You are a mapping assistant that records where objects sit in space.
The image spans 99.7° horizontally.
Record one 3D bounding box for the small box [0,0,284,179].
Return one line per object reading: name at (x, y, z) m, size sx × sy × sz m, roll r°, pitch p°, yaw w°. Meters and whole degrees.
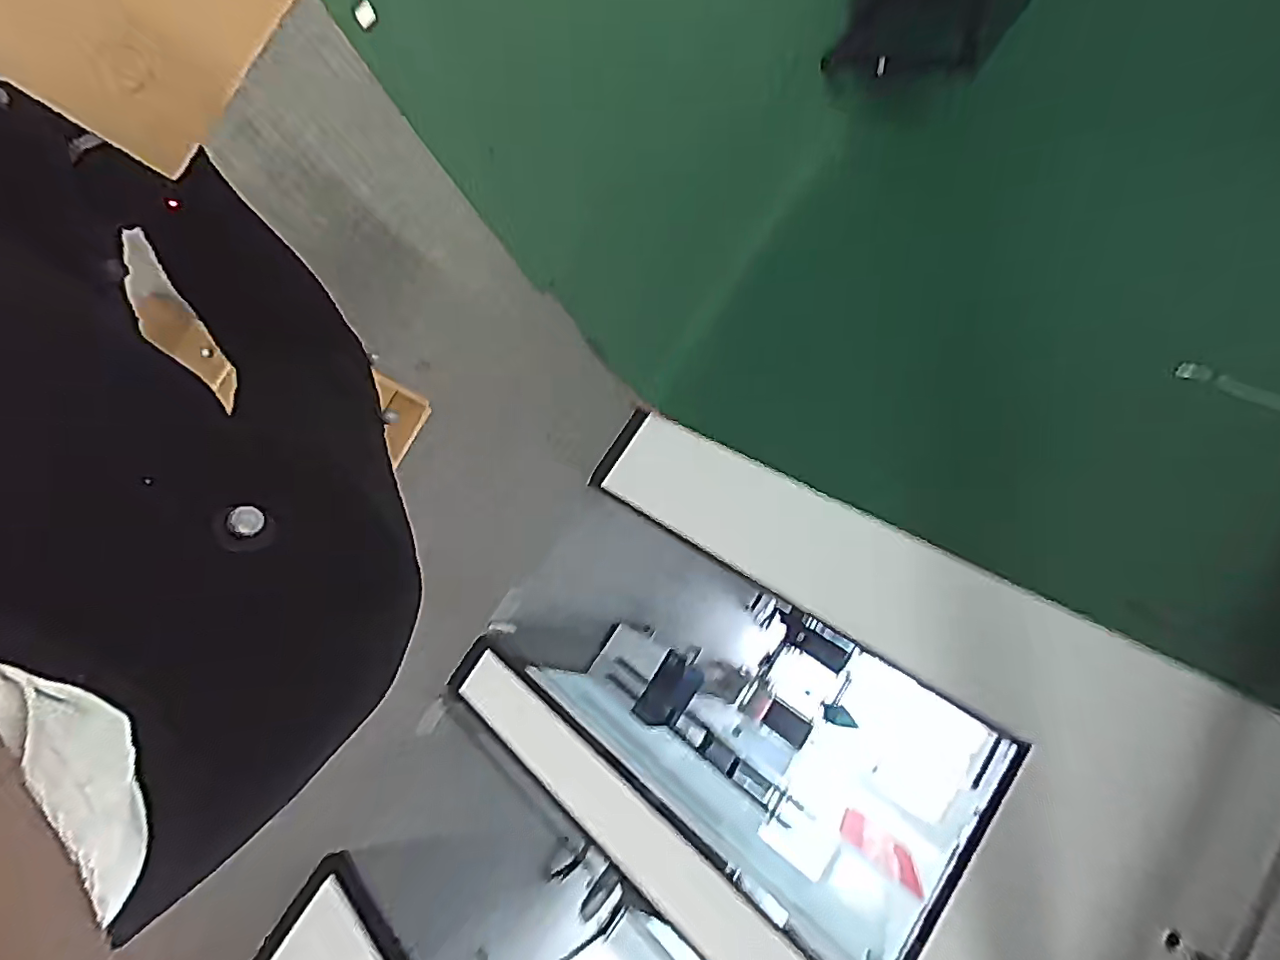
small box at (-0.267, -0.276, 0.223) m, size 0.179 × 0.176 × 0.168 m, roll -53°, pitch 152°, yaw 7°
